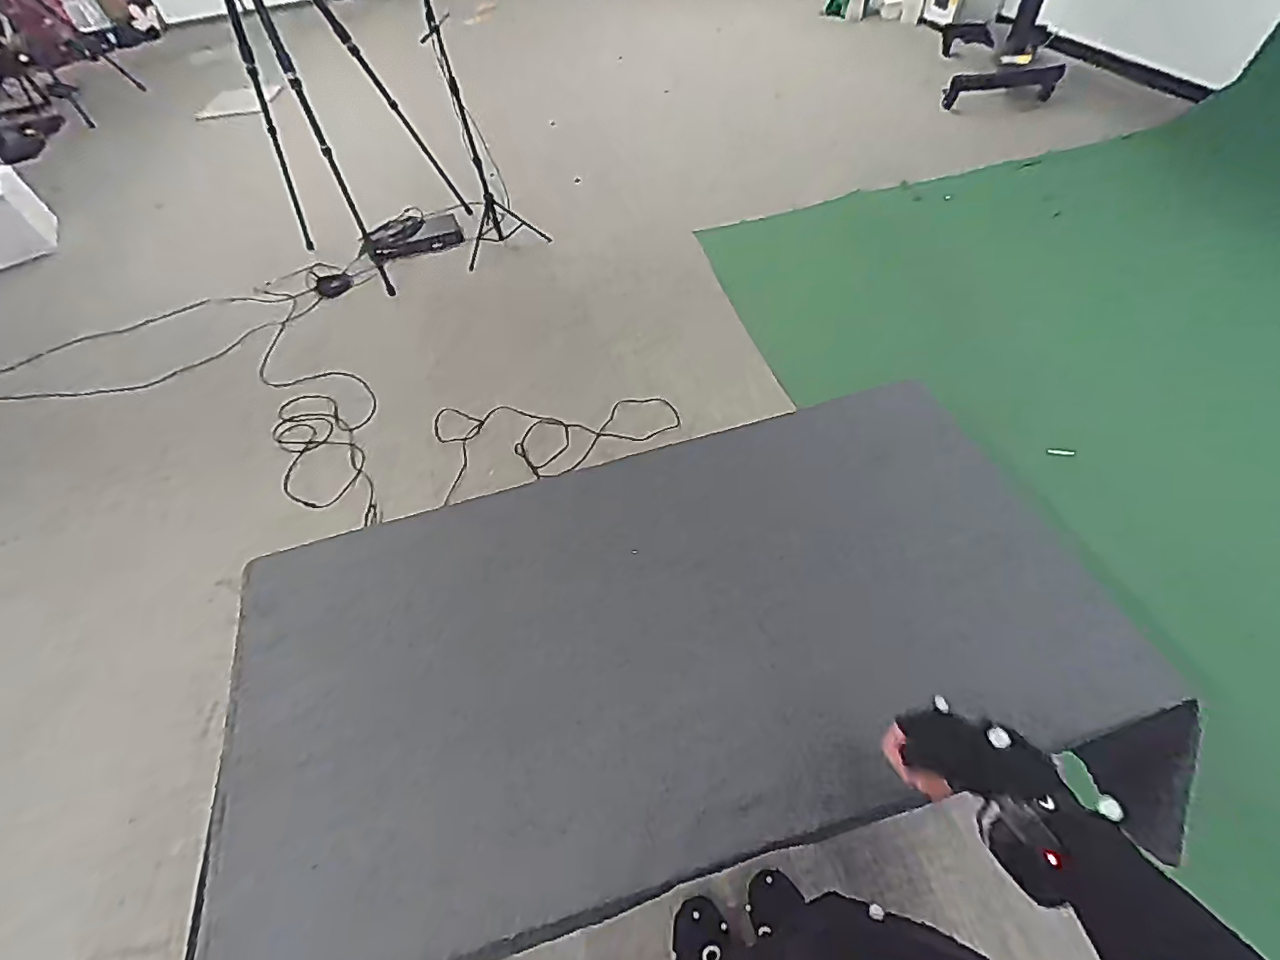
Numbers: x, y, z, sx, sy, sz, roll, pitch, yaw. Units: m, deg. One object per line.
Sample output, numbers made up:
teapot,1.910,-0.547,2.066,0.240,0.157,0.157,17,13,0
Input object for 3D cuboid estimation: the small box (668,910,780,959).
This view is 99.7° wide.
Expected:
small box,0.148,0.960,1.026,0.179,0.176,0.168,5,64,31
